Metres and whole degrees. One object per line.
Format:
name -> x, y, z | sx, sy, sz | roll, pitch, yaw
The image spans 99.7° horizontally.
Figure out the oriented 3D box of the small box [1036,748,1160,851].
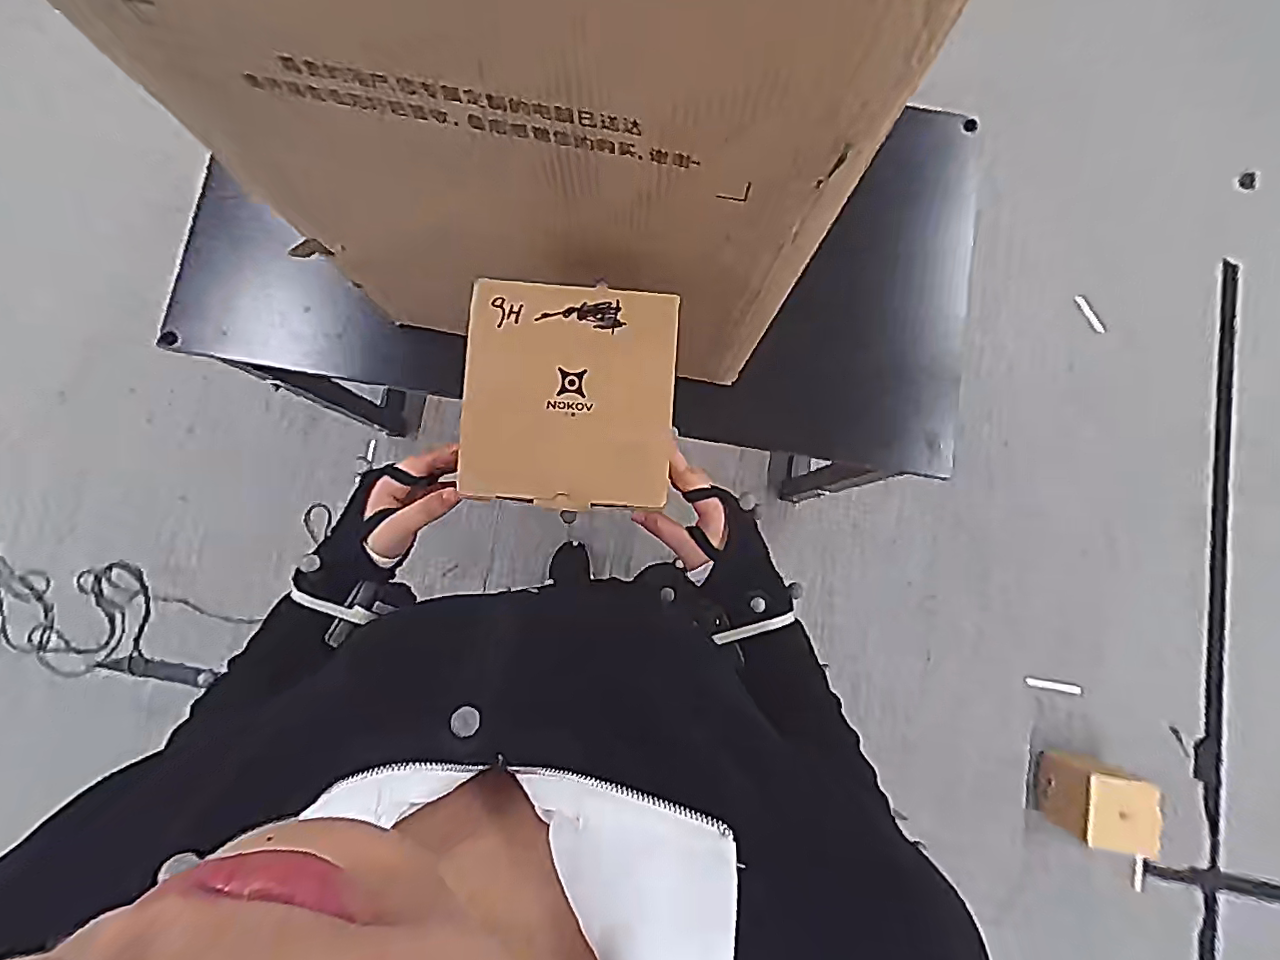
small box -> 1.162, 0.806, 1.380 | 0.179, 0.176, 0.168 | 8, 82, 1
